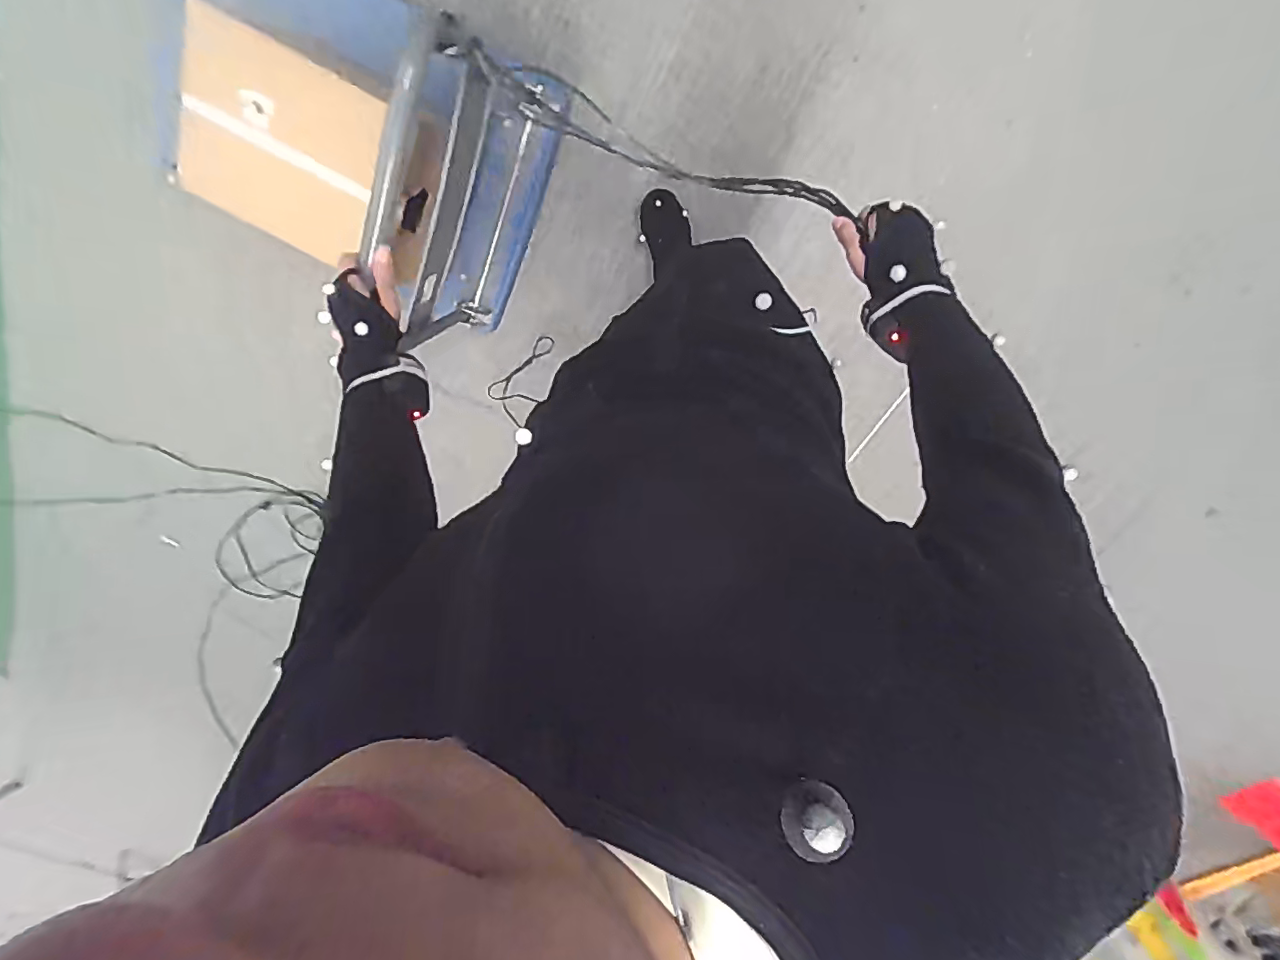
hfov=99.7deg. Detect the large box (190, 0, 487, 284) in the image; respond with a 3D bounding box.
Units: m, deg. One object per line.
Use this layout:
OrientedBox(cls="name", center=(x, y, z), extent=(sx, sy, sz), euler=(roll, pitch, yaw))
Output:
OrientedBox(cls="large box", center=(-0.592, -0.657, 1.109), extent=(0.408, 0.320, 0.320), euler=(28, 117, -6))
